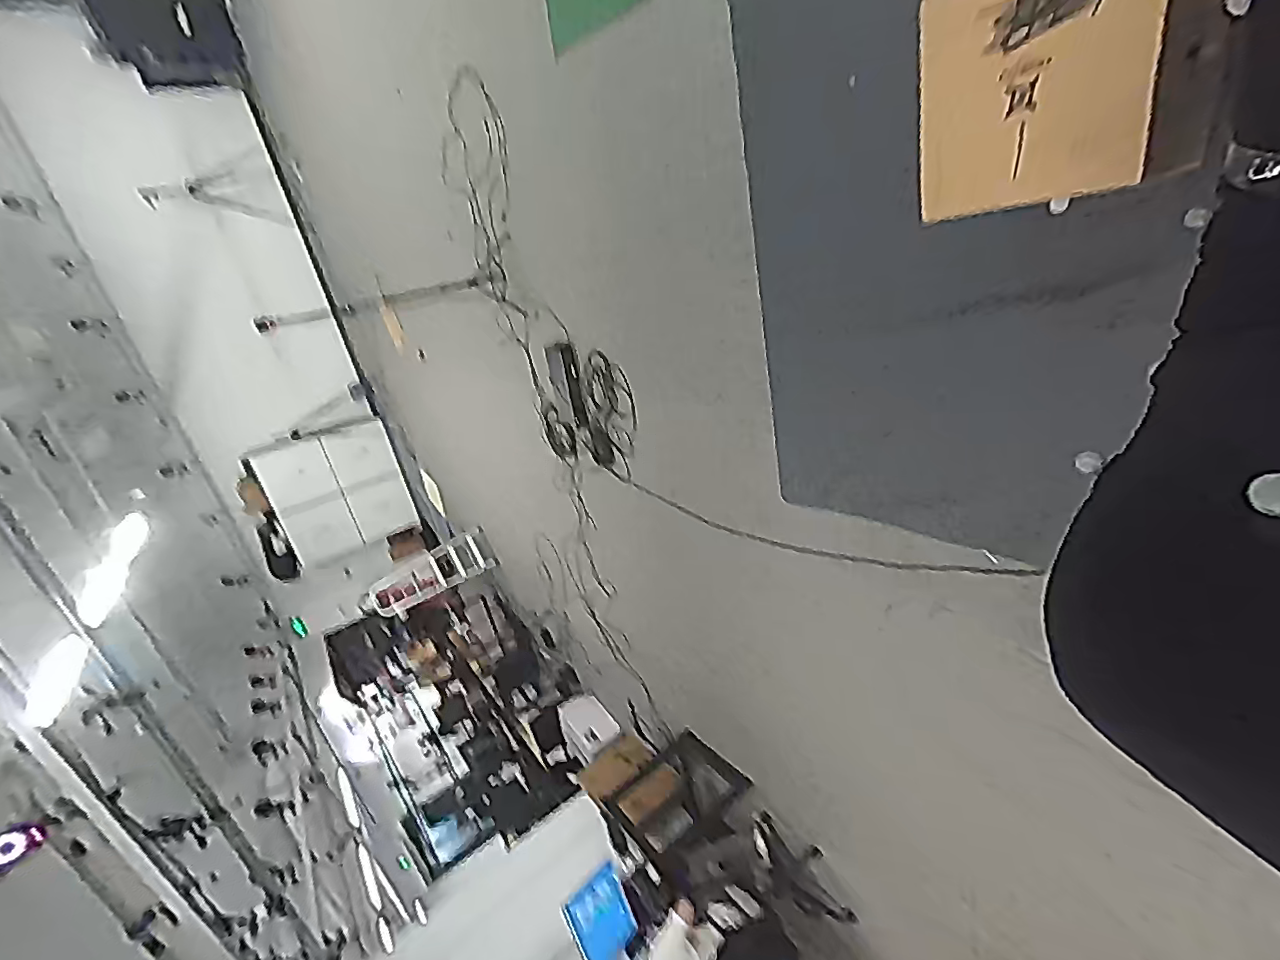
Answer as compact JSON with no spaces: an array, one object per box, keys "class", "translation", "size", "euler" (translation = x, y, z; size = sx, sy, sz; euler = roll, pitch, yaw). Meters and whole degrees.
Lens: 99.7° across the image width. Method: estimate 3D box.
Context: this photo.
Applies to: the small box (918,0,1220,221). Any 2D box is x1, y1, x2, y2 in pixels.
[{"class":"small box","translation":[0.369,-0.345,0.474],"size":[0.168,0.176,0.179],"euler":[14,123,53]}]
